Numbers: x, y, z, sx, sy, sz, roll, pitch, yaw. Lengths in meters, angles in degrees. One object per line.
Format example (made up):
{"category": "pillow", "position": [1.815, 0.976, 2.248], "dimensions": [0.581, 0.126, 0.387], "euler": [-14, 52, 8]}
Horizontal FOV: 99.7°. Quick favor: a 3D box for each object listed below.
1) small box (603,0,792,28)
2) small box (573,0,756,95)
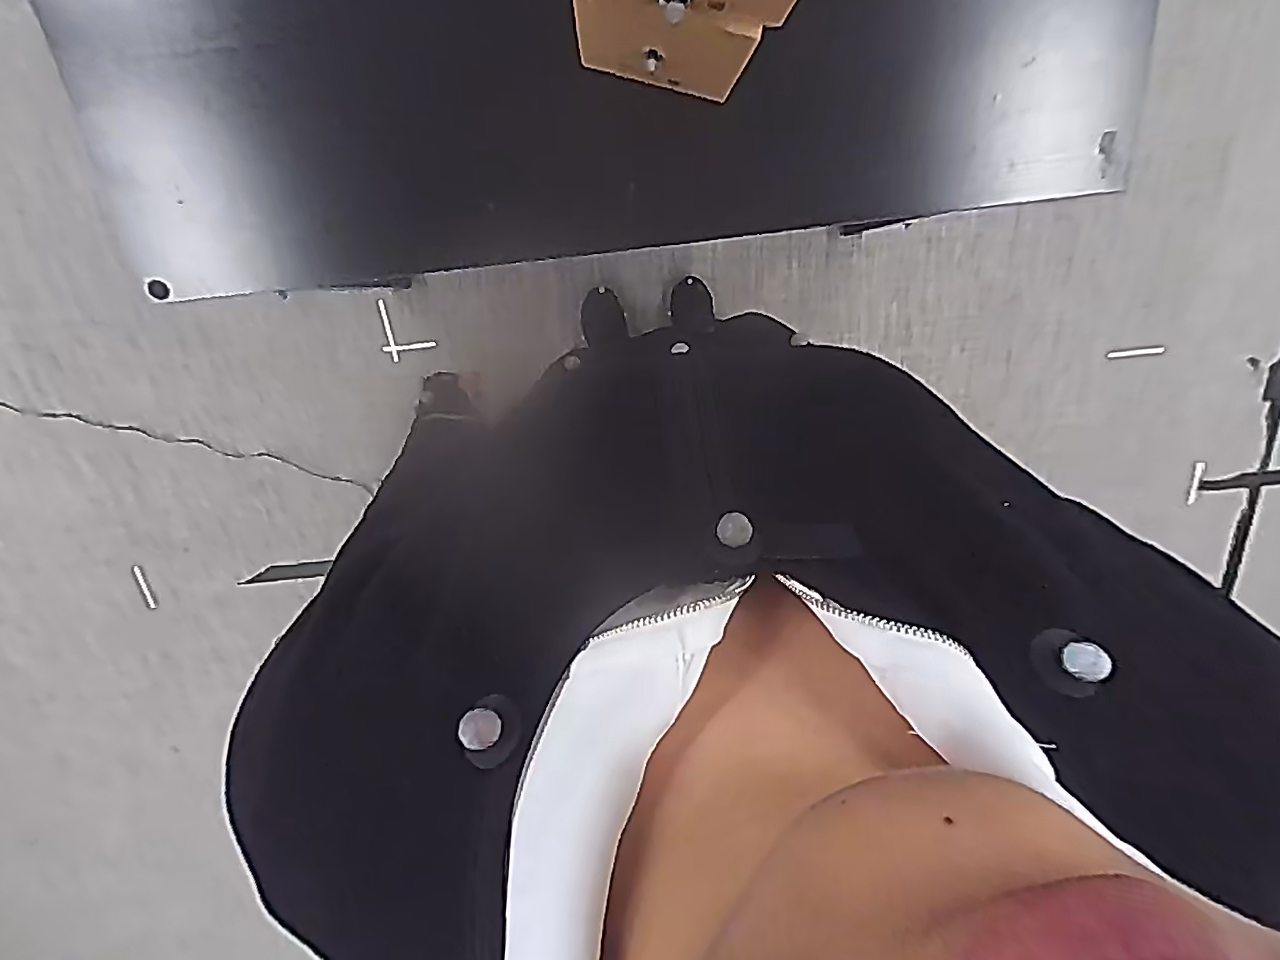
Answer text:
{"category": "small box", "position": [0.048, -0.450, 0.361], "dimensions": [0.168, 0.176, 0.179], "euler": [2, 110, -2]}
{"category": "small box", "position": [0.036, -0.505, 0.513], "dimensions": [0.168, 0.176, 0.179], "euler": [10, 108, -7]}
